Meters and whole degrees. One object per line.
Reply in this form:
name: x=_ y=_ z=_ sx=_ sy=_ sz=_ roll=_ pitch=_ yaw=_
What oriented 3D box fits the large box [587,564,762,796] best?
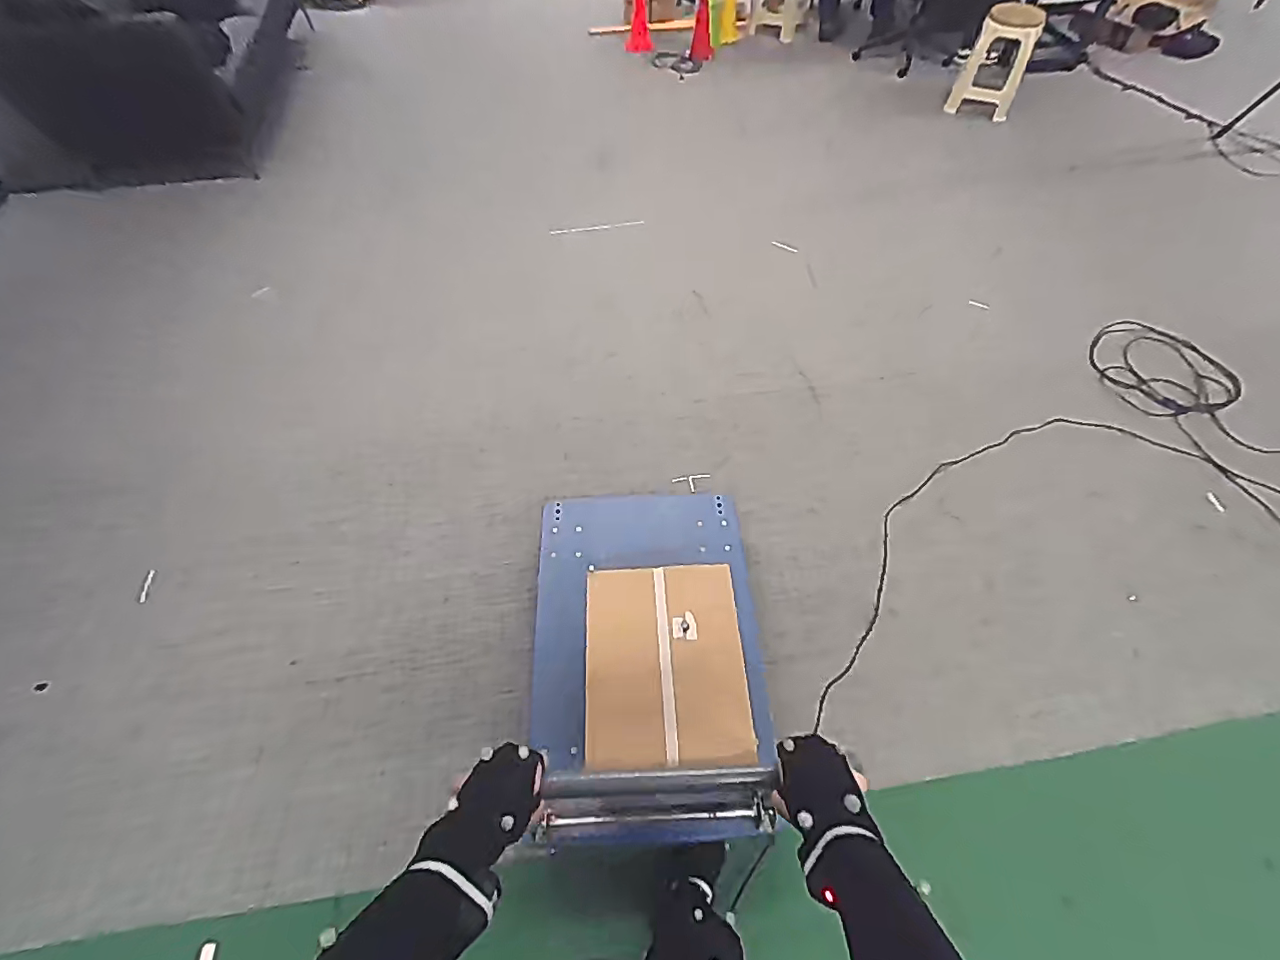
large box: x=0.055 y=0.438 z=1.181 sx=0.320 sy=0.320 sz=0.408 roll=-2 pitch=55 yaw=-2
